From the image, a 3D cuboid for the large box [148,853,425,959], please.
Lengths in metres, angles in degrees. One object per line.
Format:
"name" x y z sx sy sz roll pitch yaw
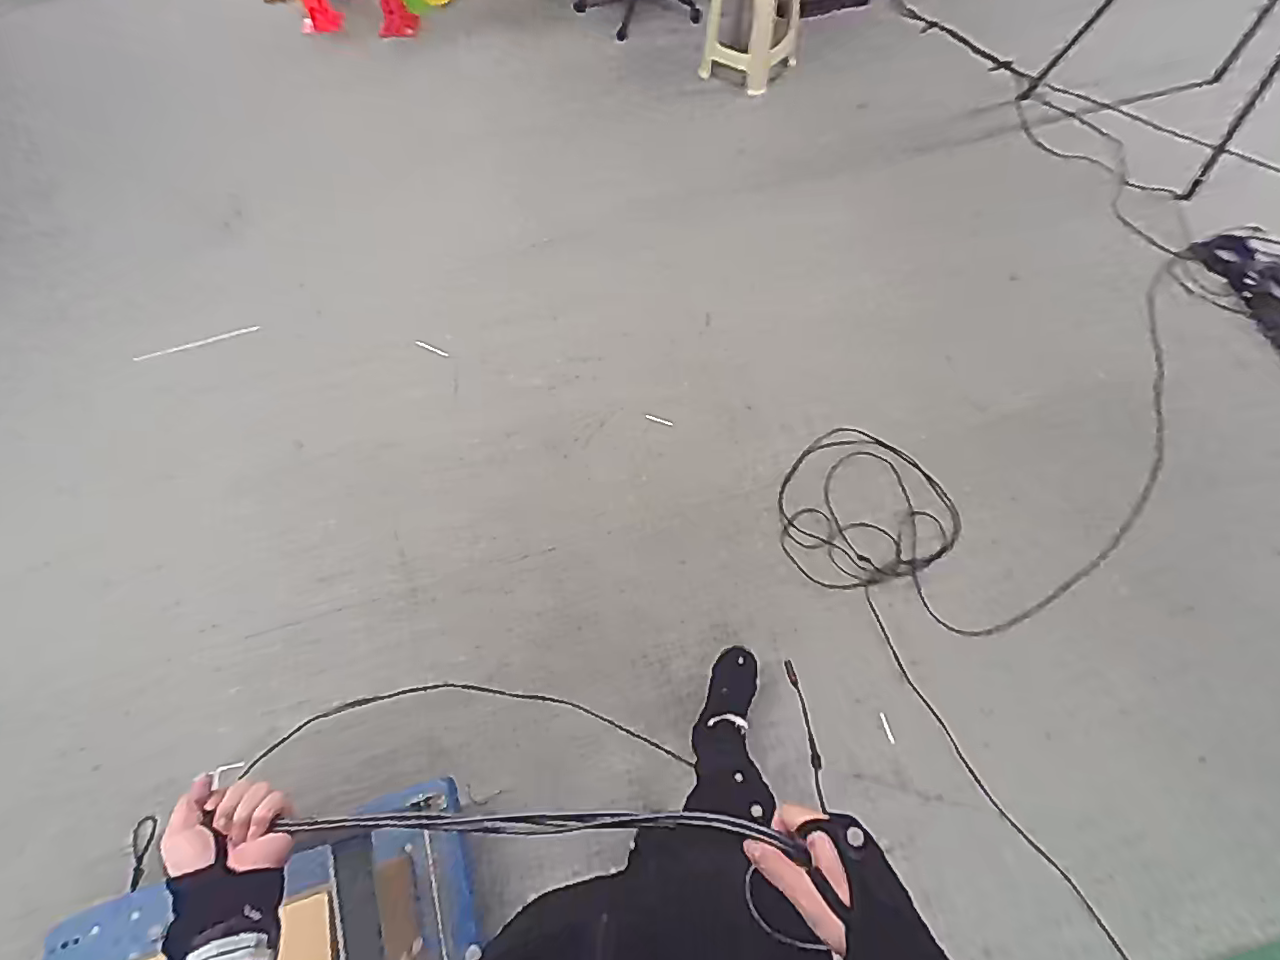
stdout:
"large box" -0.634 0.927 0.942 0.408 0.320 0.320 -19 65 -5
